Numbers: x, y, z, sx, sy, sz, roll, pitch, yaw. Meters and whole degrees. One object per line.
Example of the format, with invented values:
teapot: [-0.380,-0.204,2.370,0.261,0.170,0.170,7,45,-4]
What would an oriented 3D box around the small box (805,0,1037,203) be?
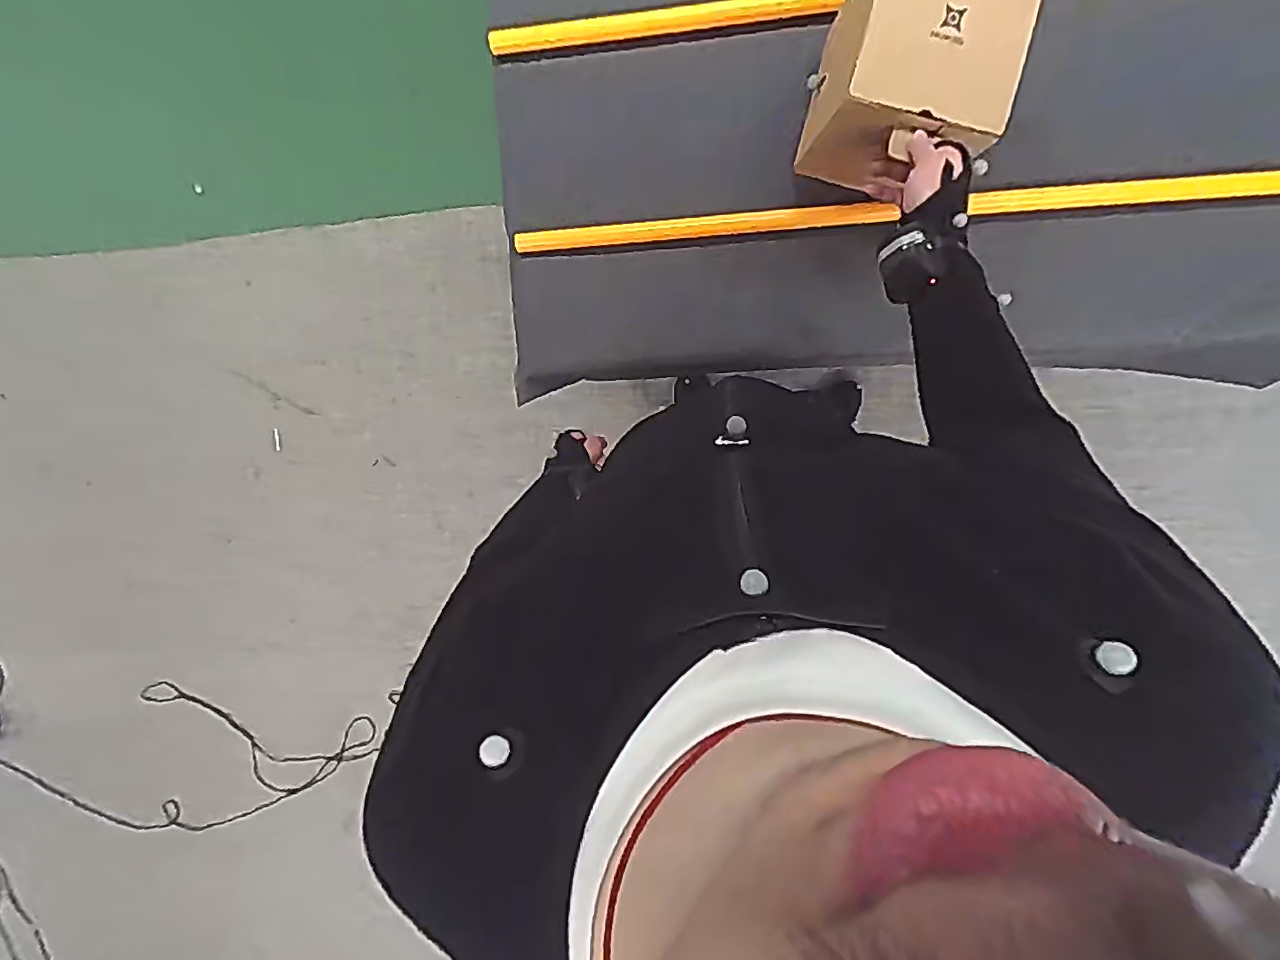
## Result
small box: [0.304,-0.449,0.622,0.168,0.176,0.179,11,95,-2]
